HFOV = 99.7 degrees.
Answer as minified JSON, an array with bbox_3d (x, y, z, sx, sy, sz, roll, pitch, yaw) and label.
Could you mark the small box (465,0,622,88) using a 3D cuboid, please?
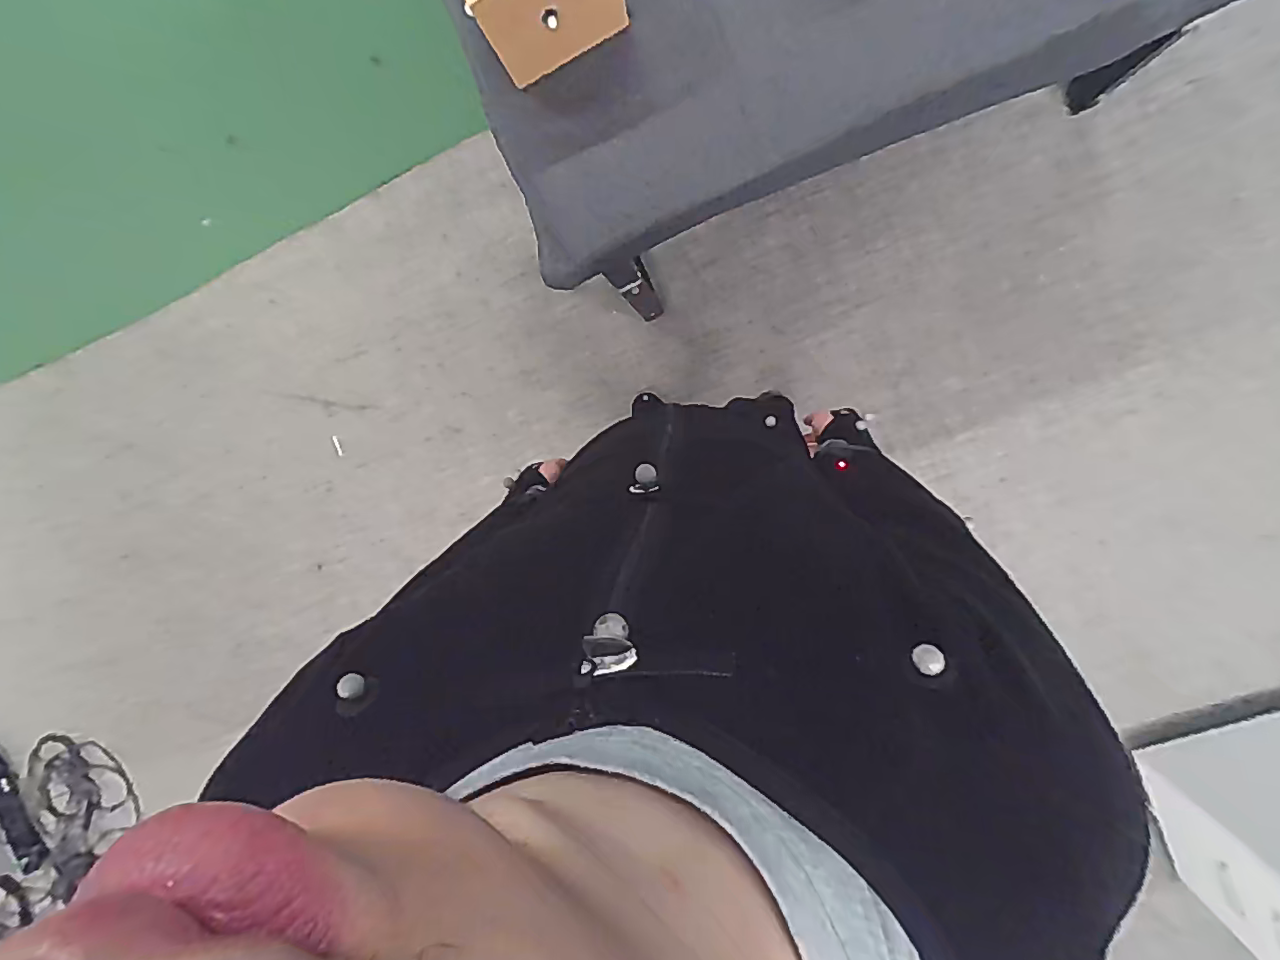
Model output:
[{"bbox_3d":[-0.133,-0.640,0.662,0.179,0.176,0.168,-23,95,11],"label":"small box"}]
